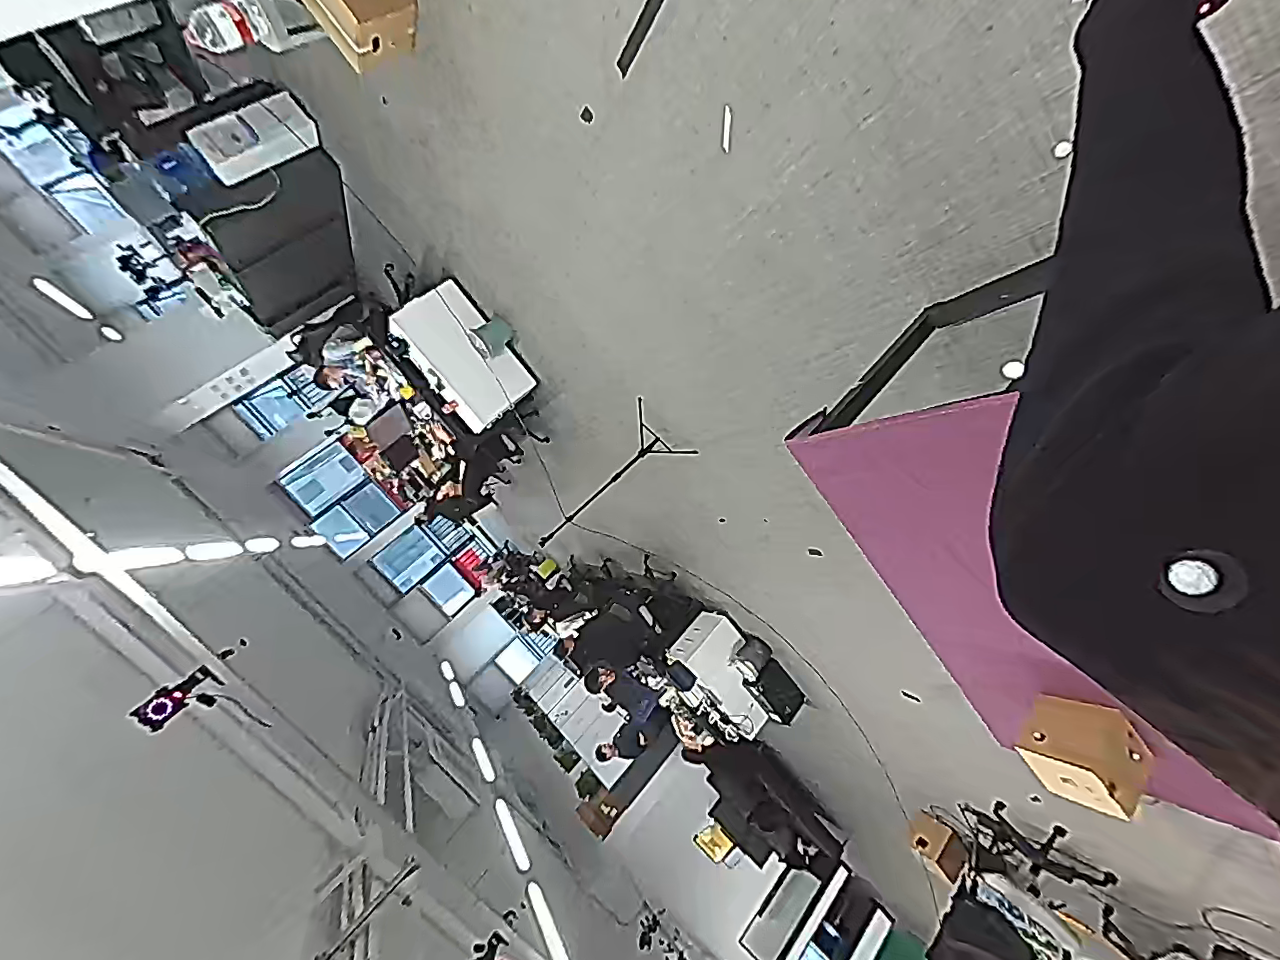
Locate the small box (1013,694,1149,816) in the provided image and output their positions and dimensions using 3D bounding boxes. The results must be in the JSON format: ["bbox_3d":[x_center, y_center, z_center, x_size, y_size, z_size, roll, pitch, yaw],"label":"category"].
[{"bbox_3d":[1.048,0.641,1.287,0.168,0.176,0.179,50,158,-9],"label":"small box"}]
